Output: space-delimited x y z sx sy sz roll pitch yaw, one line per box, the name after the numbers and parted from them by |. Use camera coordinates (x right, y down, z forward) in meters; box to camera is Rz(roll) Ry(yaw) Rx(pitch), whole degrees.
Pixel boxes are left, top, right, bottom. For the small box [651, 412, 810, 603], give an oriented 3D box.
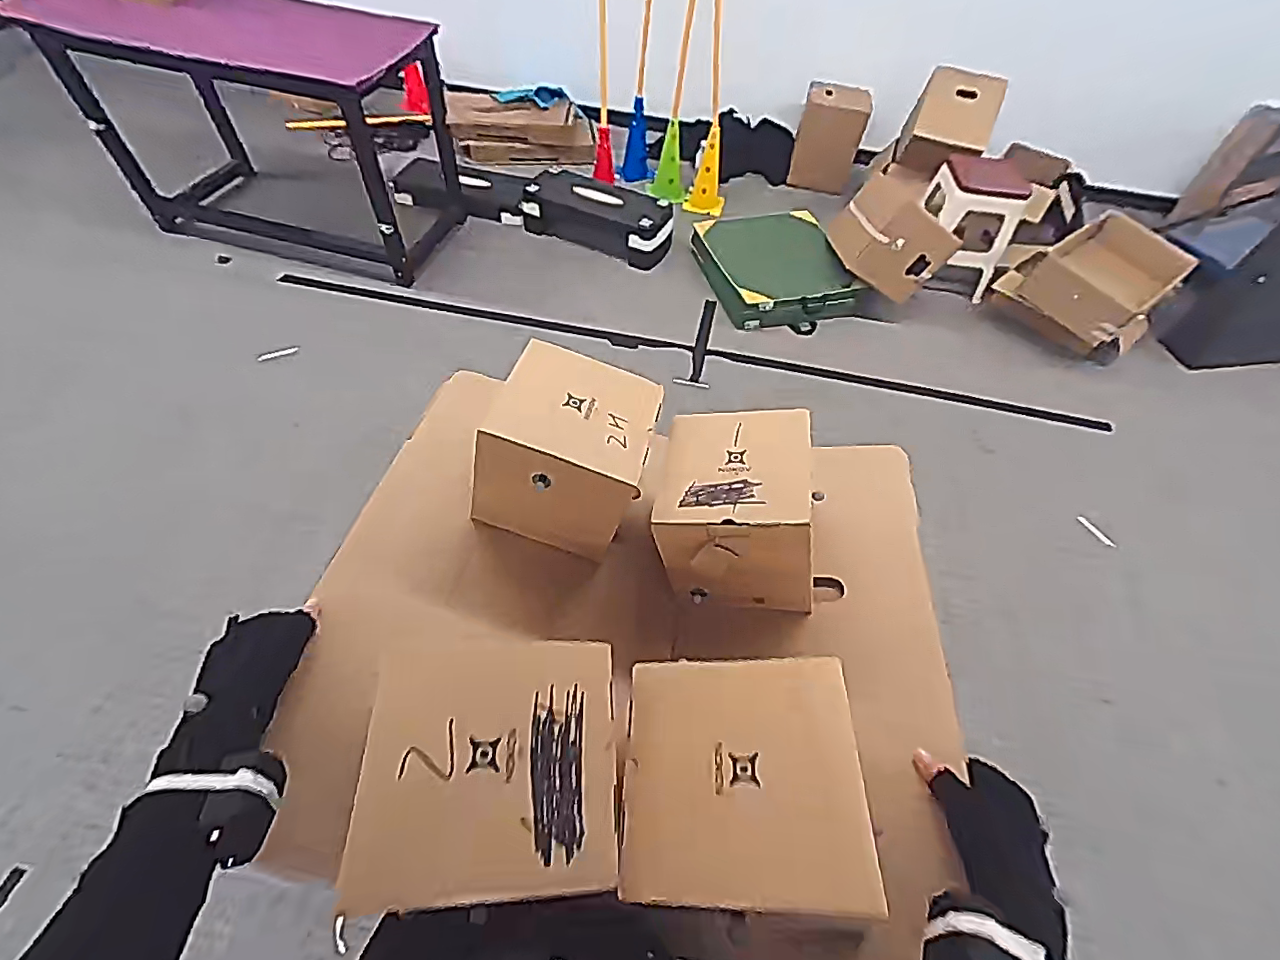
0.125 0.037 0.677 0.168 0.176 0.179 0 46 18 | small box
